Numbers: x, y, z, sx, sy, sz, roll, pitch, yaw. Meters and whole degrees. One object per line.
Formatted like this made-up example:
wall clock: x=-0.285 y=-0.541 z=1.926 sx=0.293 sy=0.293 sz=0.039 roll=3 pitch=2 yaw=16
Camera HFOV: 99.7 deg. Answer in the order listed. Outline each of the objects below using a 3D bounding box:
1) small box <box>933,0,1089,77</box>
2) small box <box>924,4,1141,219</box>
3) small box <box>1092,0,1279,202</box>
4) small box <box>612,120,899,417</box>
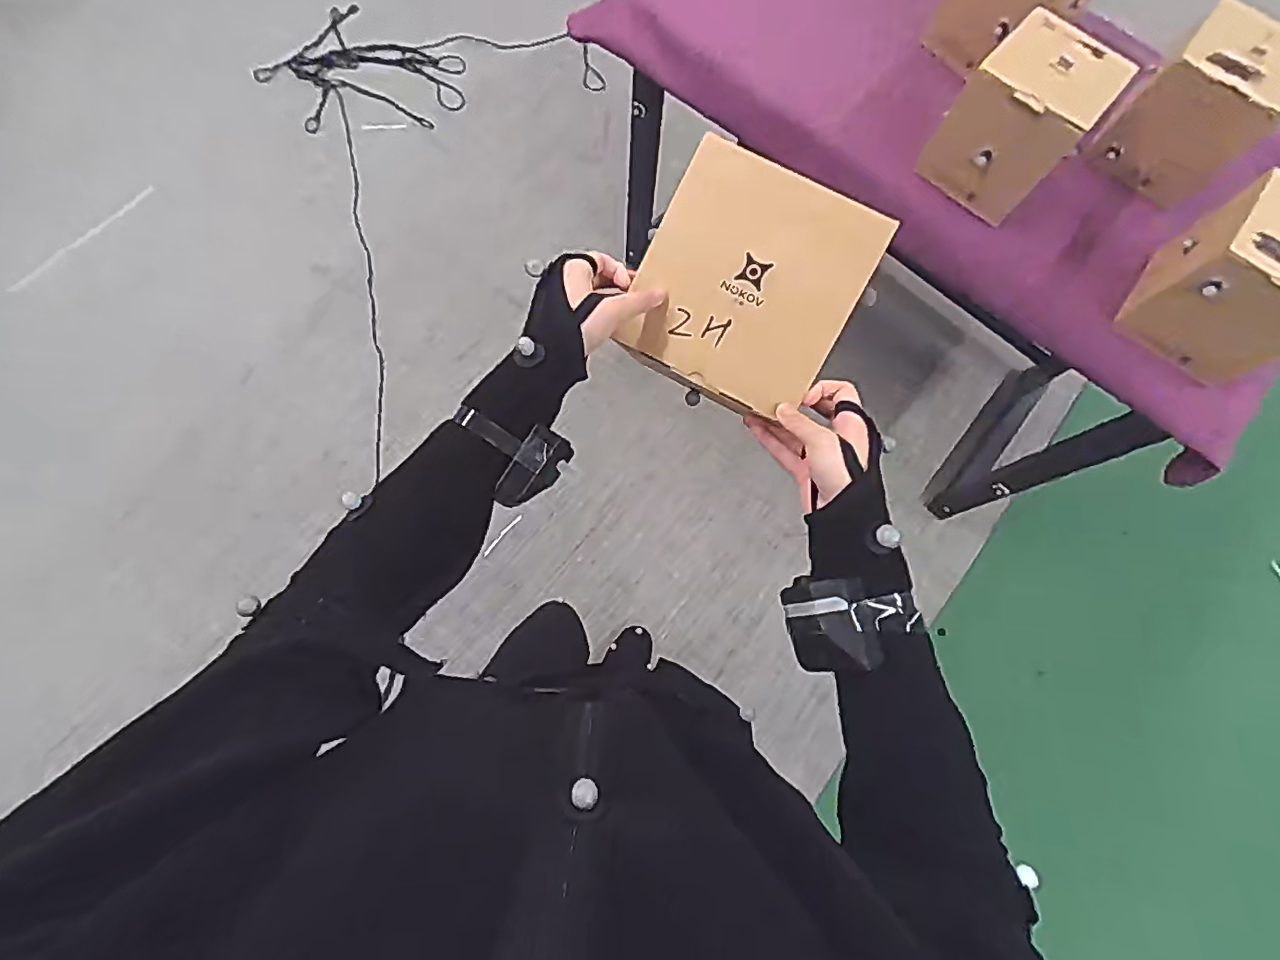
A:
small box: x=0.619 y=-0.789 z=0.881 sx=0.179 sy=0.176 sz=0.168 roll=-37 pitch=80 yaw=-12
small box: x=0.562 y=-0.534 z=0.803 sx=0.168 sy=0.176 sz=0.179 roll=41 pitch=75 yaw=8
small box: x=0.859 y=-0.575 z=0.832 sx=0.168 sy=0.176 sz=0.179 roll=39 pitch=75 yaw=8
small box: x=0.095 y=-0.172 z=0.499 sx=0.168 sy=0.176 sz=0.179 roll=29 pitch=99 yaw=5
